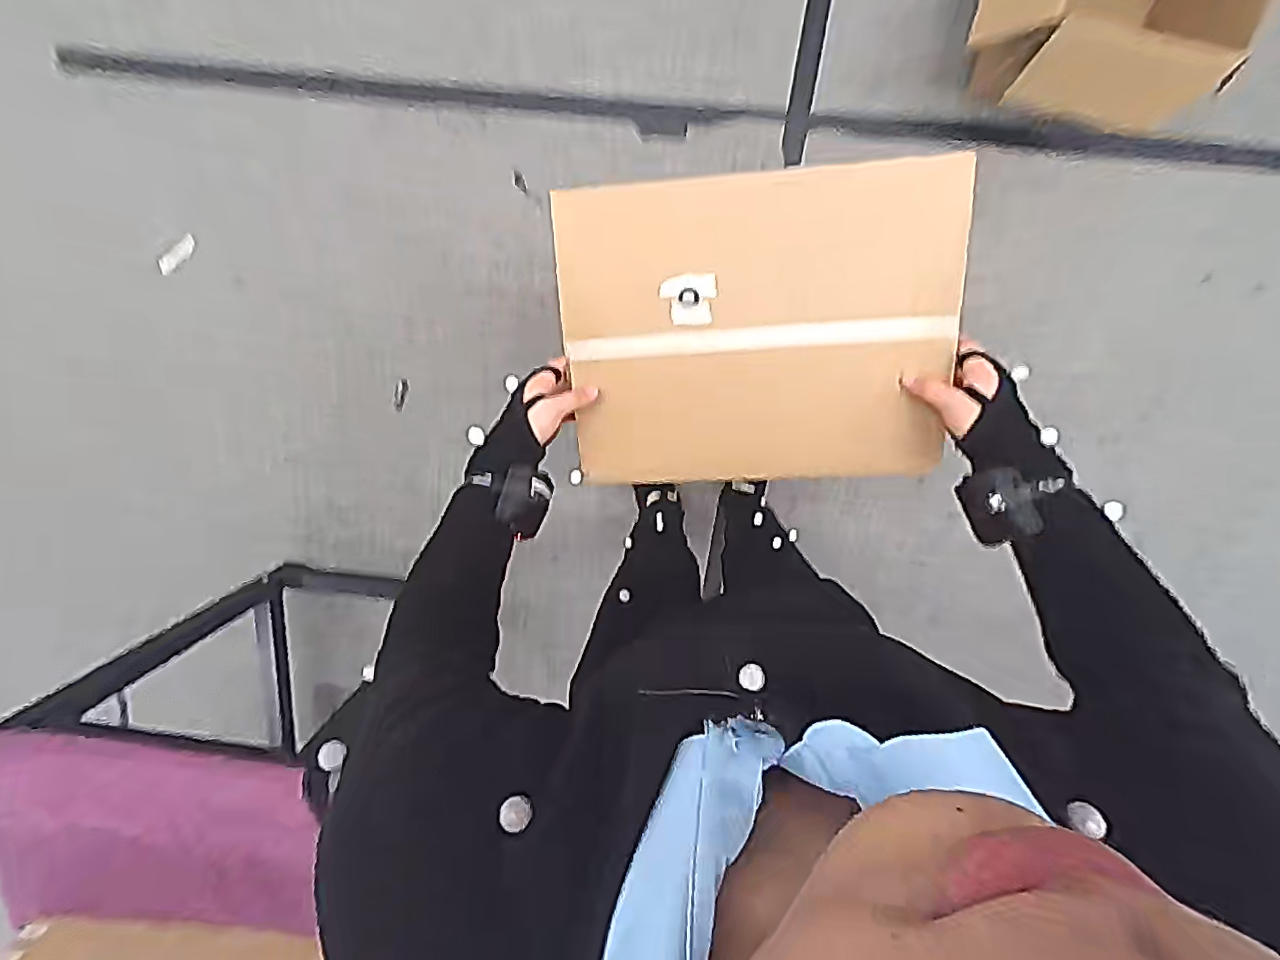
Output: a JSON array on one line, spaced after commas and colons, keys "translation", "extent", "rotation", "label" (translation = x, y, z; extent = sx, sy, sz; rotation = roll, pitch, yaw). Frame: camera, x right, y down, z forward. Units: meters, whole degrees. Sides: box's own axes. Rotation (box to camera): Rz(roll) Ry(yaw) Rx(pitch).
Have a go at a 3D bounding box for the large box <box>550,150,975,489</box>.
[{"translation": [0.137, -0.190, 0.695], "extent": [0.408, 0.320, 0.320], "rotation": [-2, 108, 8], "label": "large box"}]
